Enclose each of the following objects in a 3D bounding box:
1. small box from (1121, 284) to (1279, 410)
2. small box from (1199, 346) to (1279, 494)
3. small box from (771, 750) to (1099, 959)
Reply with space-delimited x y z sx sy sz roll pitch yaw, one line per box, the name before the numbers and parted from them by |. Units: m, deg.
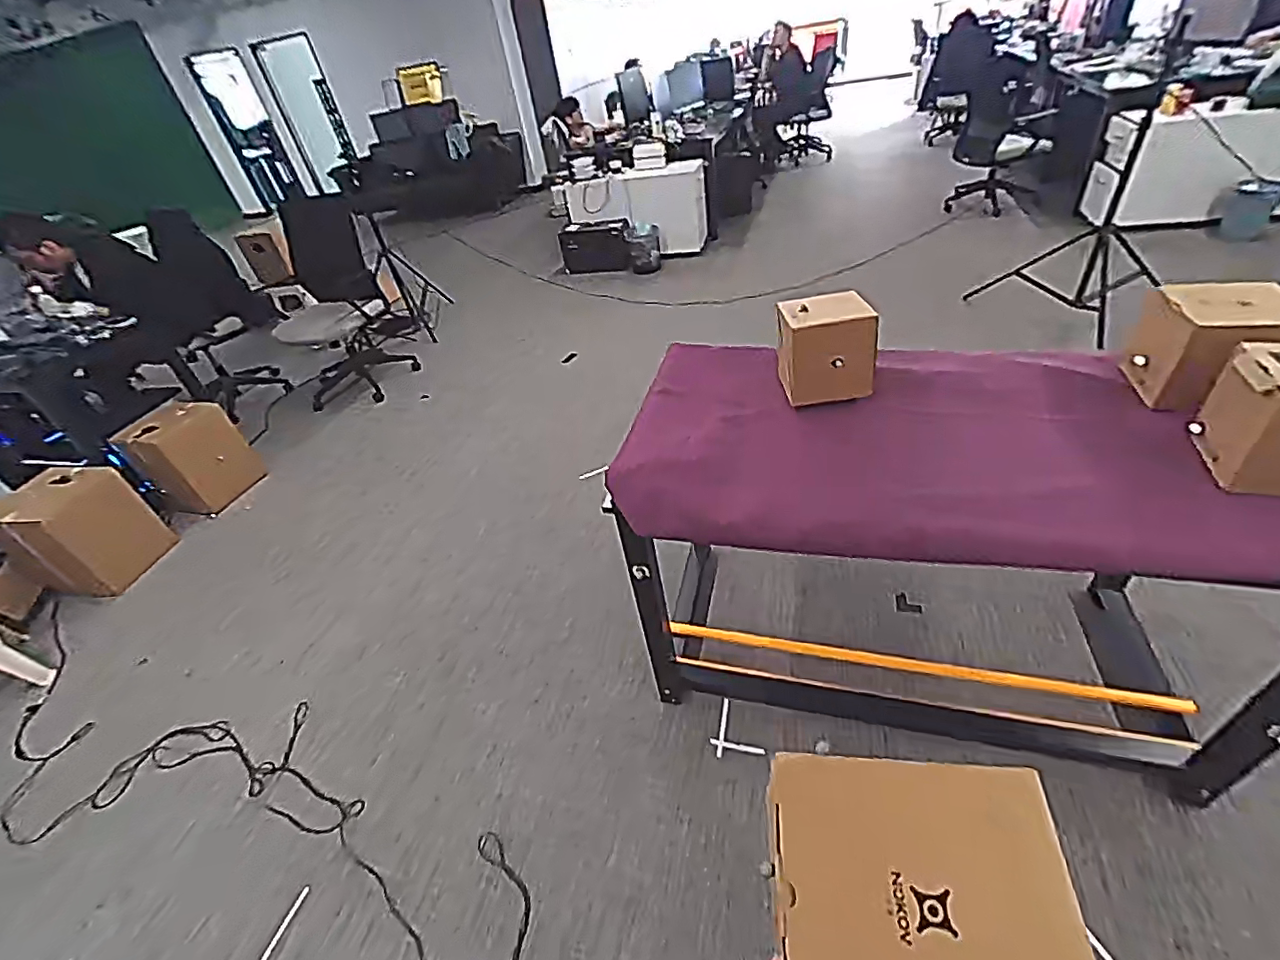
small box | 1.029 -0.236 0.973 0.179 0.176 0.168 4 42 17
small box | 0.985 -0.084 0.797 0.179 0.176 0.168 8 41 22
small box | 0.191 0.306 0.395 0.179 0.176 0.168 -3 53 11
